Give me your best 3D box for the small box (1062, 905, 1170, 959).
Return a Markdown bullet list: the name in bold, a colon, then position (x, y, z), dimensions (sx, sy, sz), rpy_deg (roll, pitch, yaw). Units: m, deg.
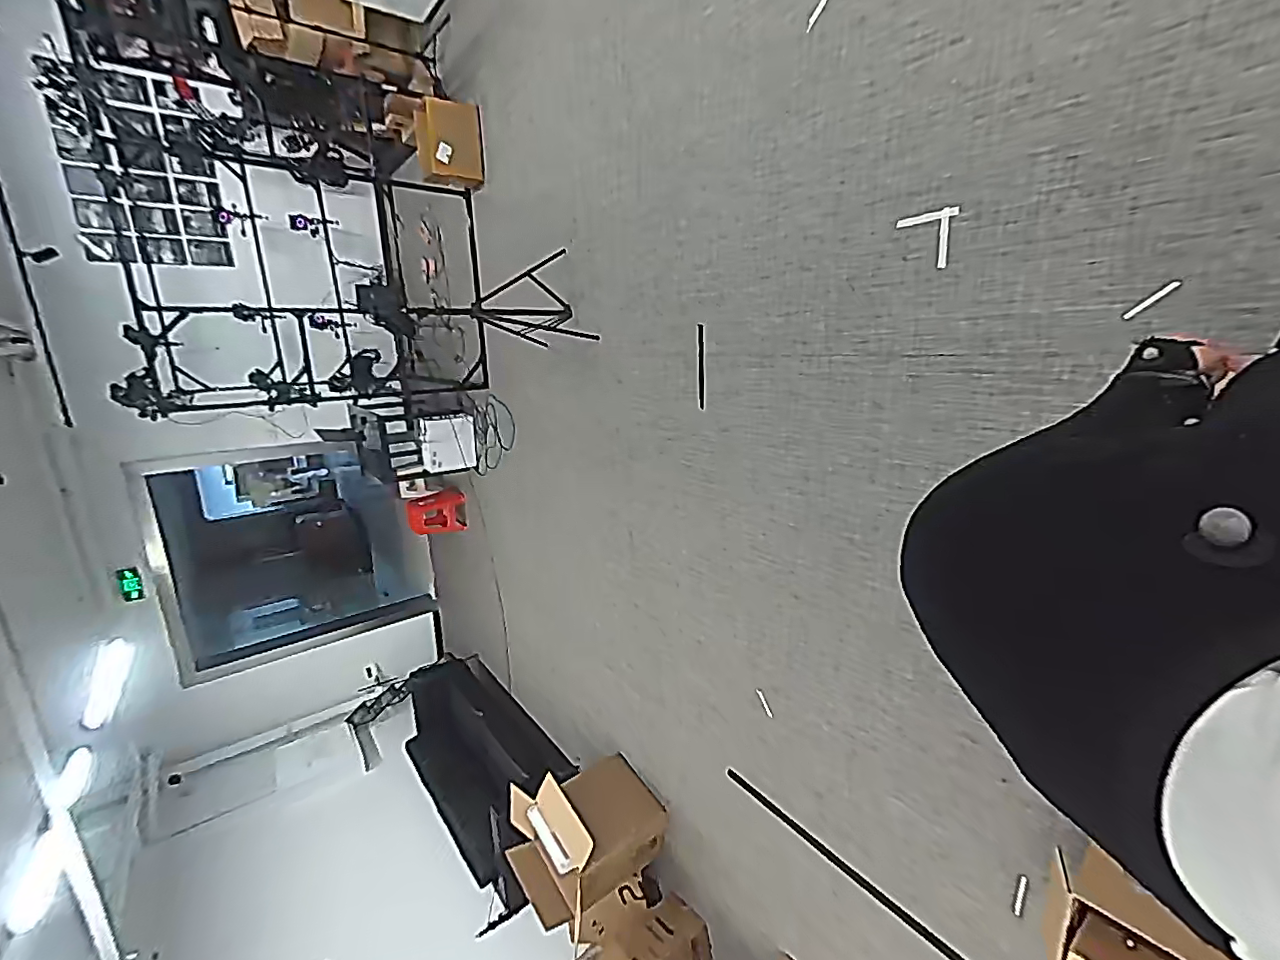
- **small box**: position (1.096, 1.159, 1.253), dimensions (0.168, 0.176, 0.179), rpy_deg (19, 115, 50)
